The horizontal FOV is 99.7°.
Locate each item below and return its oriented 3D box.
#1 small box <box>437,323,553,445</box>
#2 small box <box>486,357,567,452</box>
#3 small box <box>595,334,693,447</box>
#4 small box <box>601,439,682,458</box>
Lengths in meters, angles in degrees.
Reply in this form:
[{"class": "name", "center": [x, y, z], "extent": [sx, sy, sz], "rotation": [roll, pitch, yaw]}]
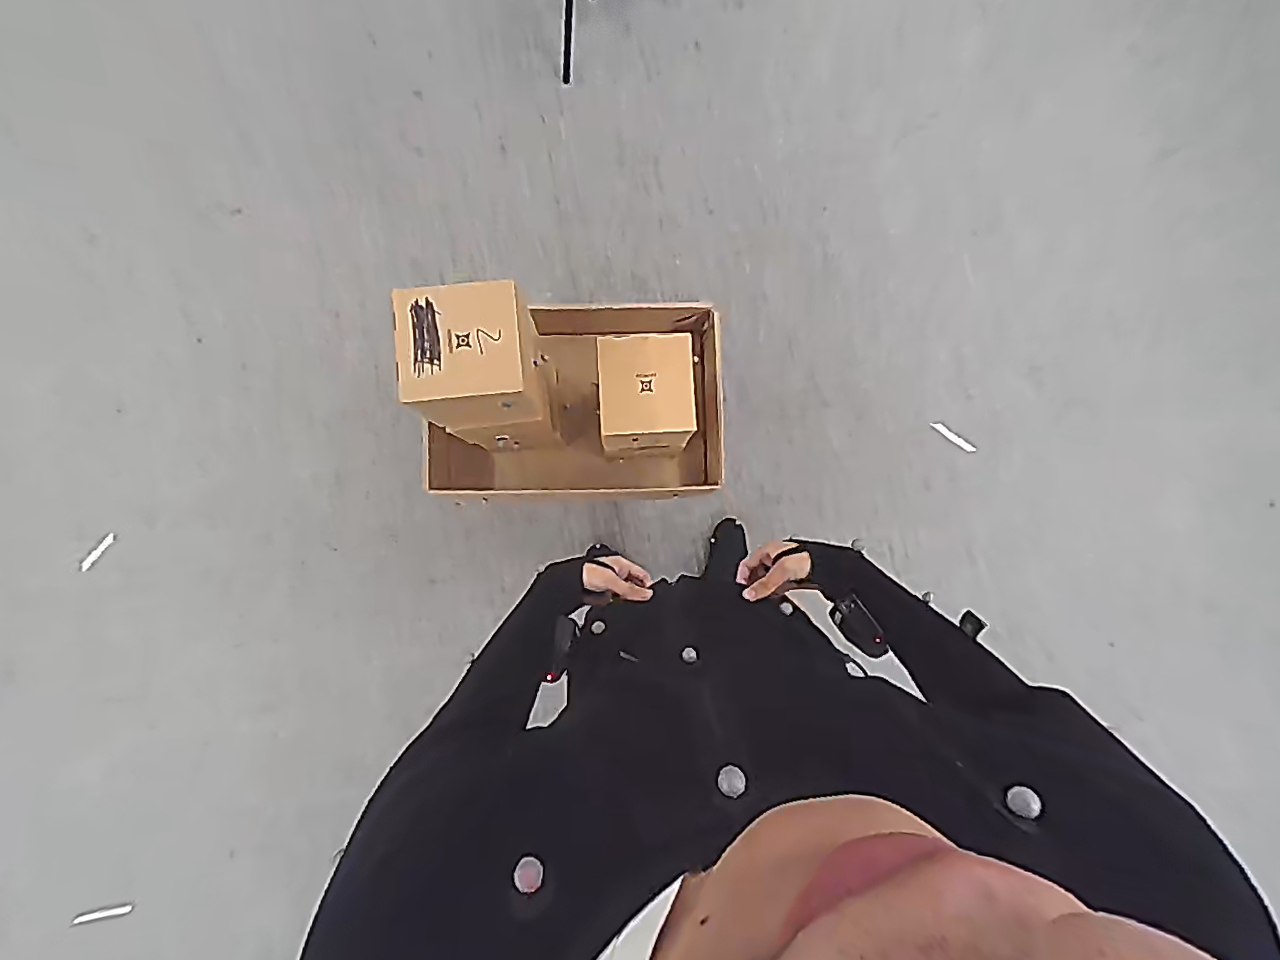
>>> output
[{"class": "small box", "center": [-0.260, -0.170, 0.999], "extent": [0.168, 0.176, 0.179], "rotation": [-7, 85, -1]}, {"class": "small box", "center": [-0.256, -0.155, 1.163], "extent": [0.179, 0.176, 0.168], "rotation": [-4, 86, -3]}, {"class": "small box", "center": [0.005, -0.157, 1.008], "extent": [0.168, 0.176, 0.179], "rotation": [-3, 85, -2]}, {"class": "small box", "center": [-0.001, -0.142, 1.170], "extent": [0.168, 0.176, 0.179], "rotation": [-4, 85, -2]}]
